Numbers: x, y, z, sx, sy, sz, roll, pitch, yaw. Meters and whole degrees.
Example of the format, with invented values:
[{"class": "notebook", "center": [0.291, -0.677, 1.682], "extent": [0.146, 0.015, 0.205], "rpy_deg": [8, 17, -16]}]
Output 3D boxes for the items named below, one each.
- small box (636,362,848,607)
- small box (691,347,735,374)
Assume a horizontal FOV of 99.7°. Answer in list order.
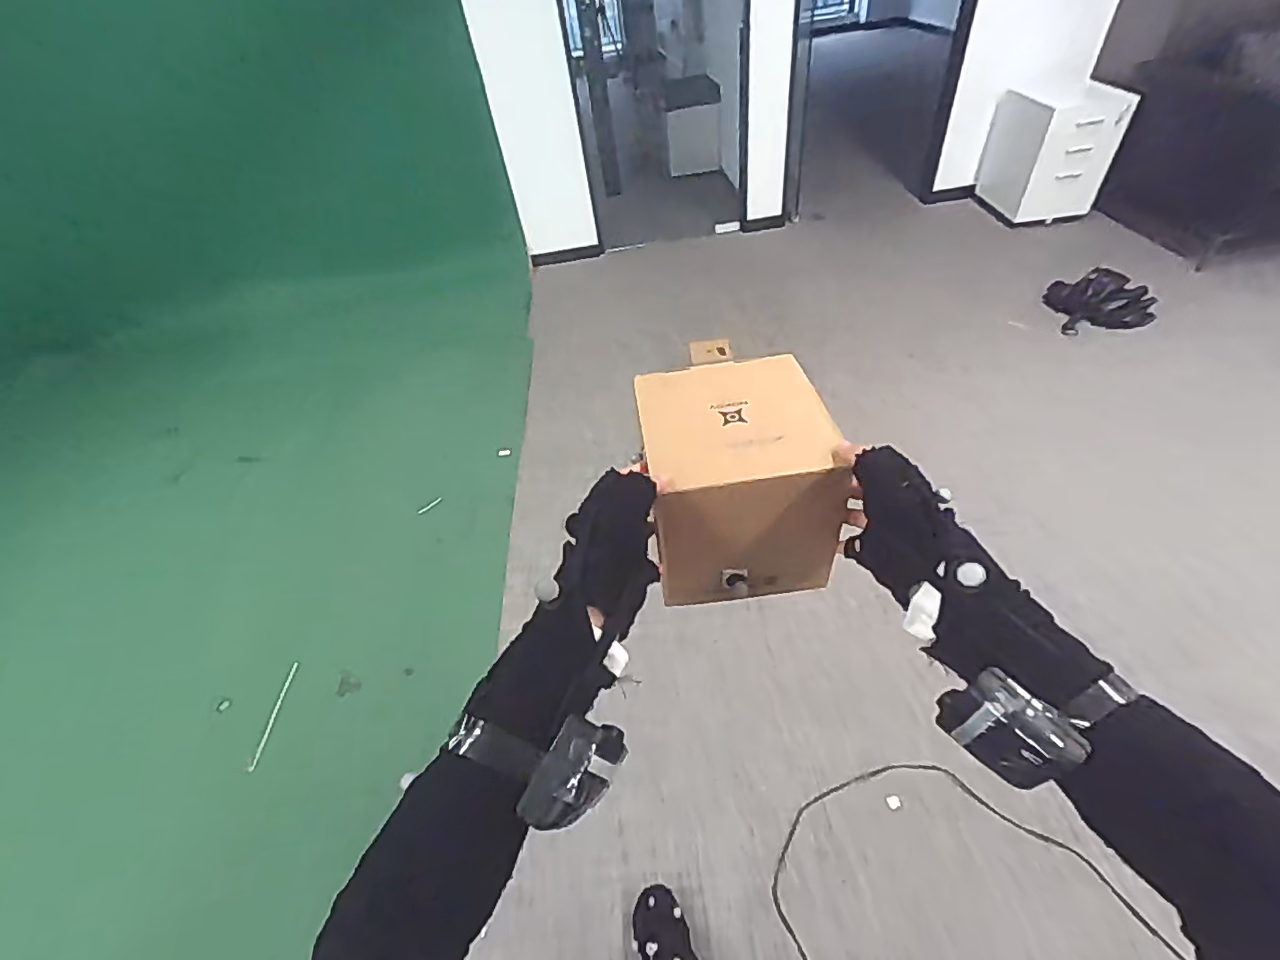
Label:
[{"class": "small box", "center": [0.089, 0.004, 0.553], "extent": [0.168, 0.176, 0.179], "rpy_deg": [-8, 42, 0]}, {"class": "small box", "center": [0.328, -0.469, 2.418], "extent": [0.179, 0.176, 0.168], "rpy_deg": [-8, 44, 4]}]
